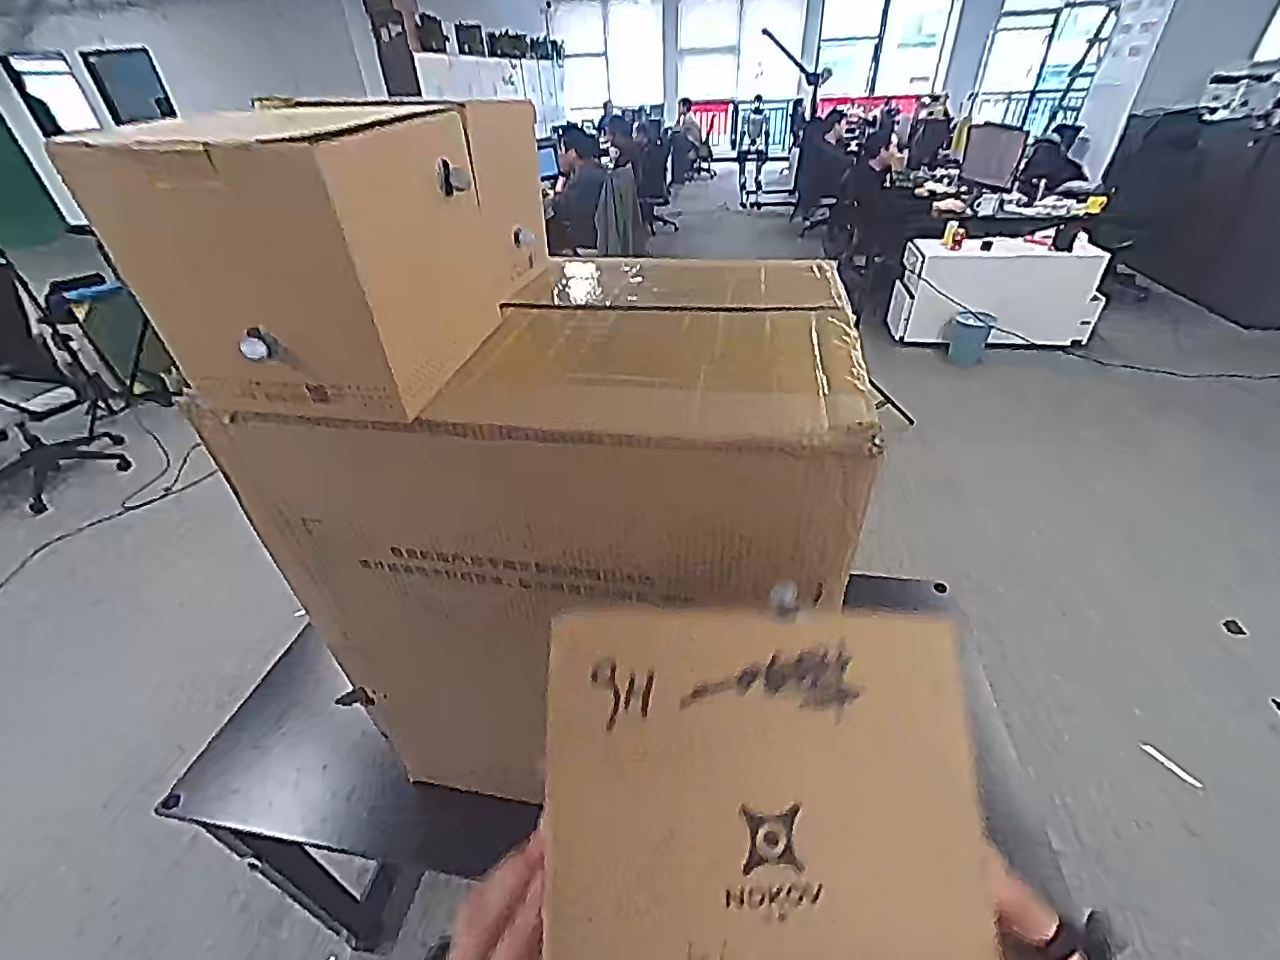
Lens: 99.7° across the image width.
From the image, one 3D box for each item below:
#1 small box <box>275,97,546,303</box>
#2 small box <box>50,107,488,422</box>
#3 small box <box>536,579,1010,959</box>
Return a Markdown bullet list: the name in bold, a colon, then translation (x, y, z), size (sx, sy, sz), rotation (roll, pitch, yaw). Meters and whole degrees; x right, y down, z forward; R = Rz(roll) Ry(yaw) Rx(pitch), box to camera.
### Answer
- **small box**: translation (-0.211, -0.284, 0.552), size (0.179, 0.176, 0.168), rotation (6, 36, 9)
- **small box**: translation (-0.226, -0.162, 0.395), size (0.168, 0.176, 0.179), rotation (4, 40, 9)
- **small box**: translation (0.043, 0.143, 0.269), size (0.168, 0.179, 0.176), rotation (0, -8, -4)
